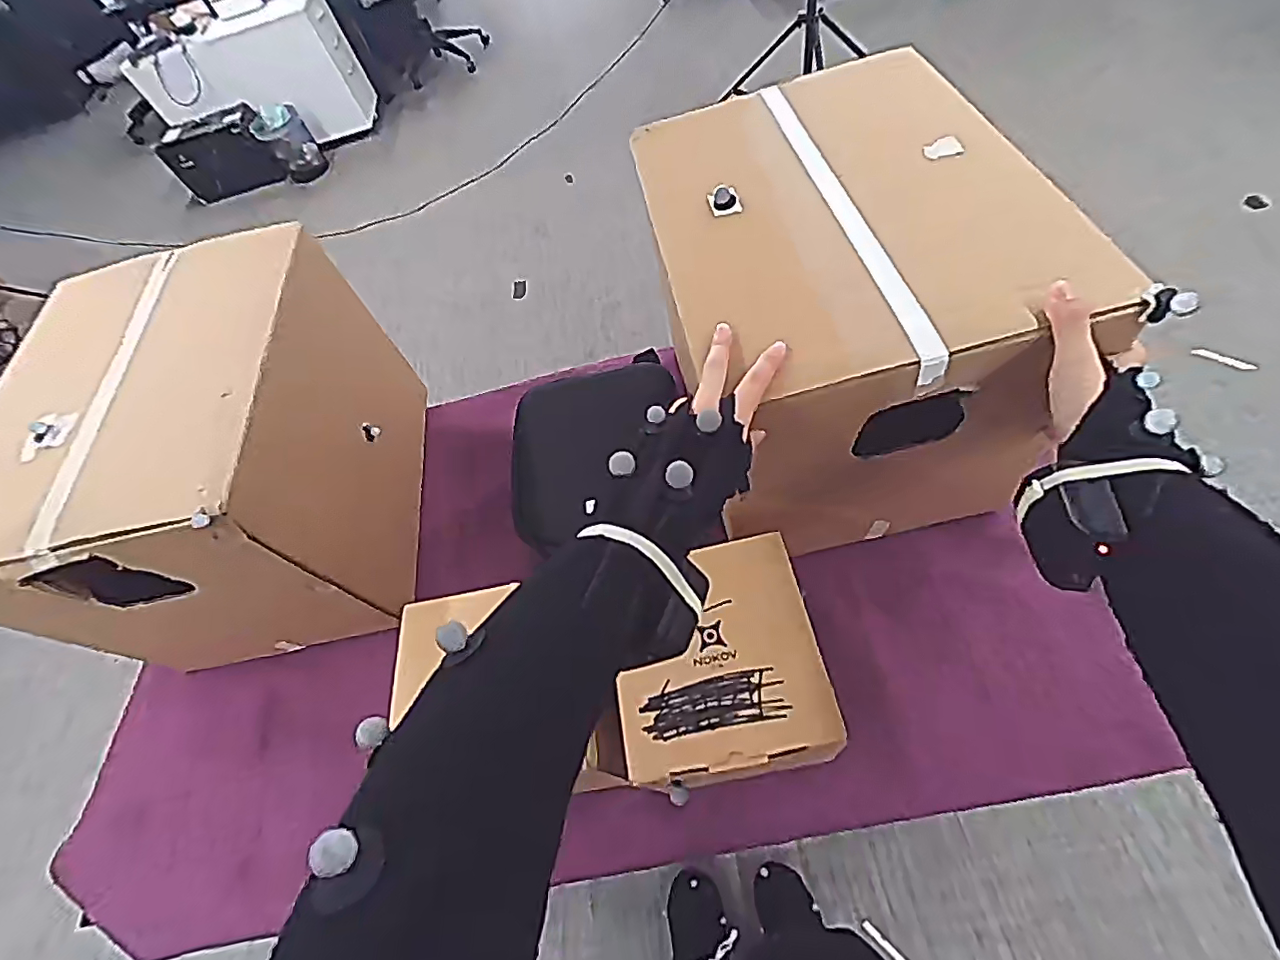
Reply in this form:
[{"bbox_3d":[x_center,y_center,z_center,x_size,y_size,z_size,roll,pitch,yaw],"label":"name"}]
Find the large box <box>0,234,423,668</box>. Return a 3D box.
[{"bbox_3d":[-0.489,-0.023,0.677,0.320,0.320,0.408,-14,60,3],"label":"large box"}]
